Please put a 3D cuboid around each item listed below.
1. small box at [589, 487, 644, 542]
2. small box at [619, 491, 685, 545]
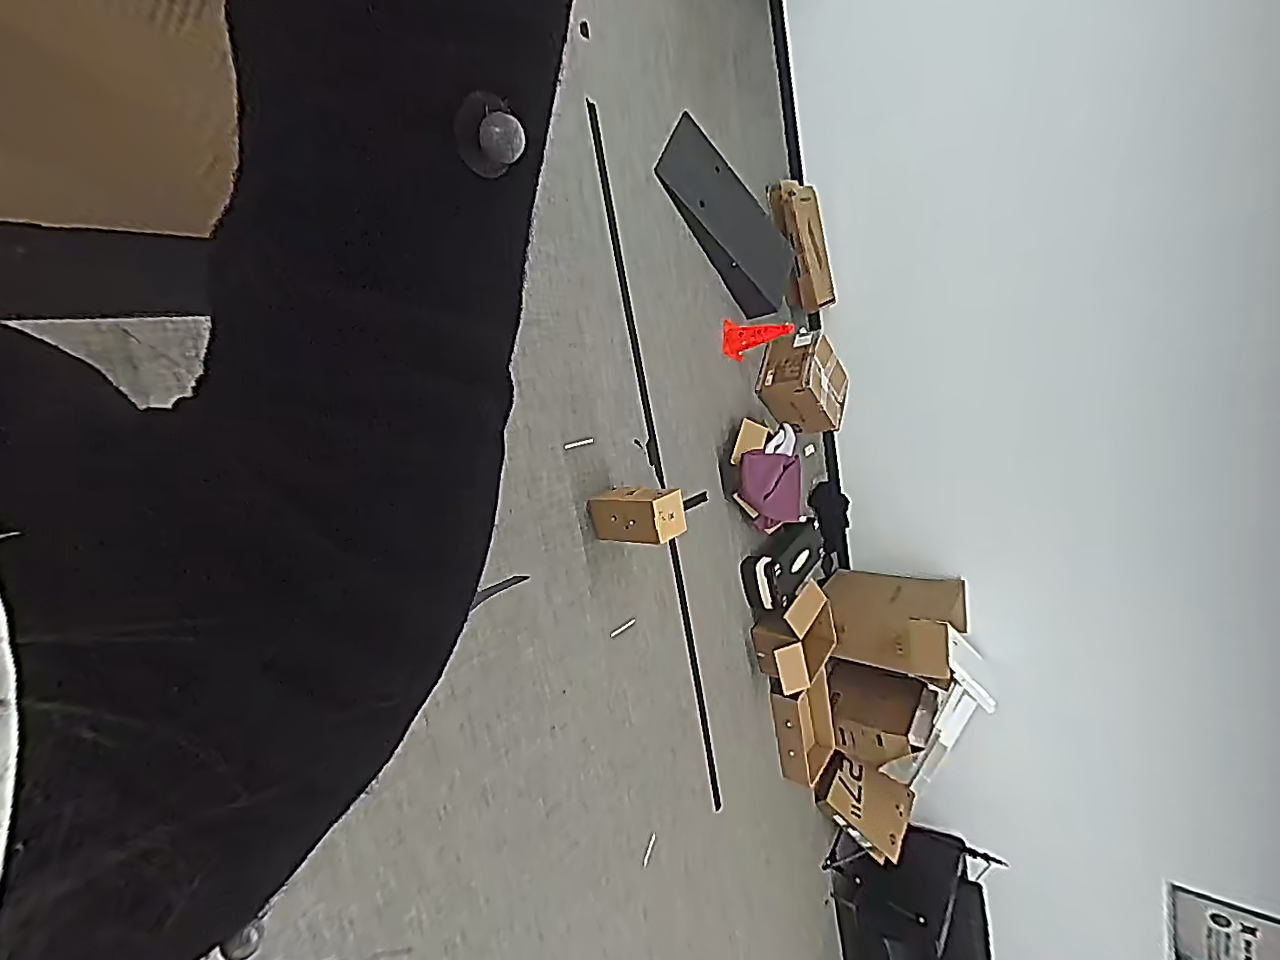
[{"bbox_3d":[-0.081,0.135,2.148,0.168,0.176,0.179,-26,109,-46],"label":"small box"},{"bbox_3d":[0.045,0.137,2.042,0.179,0.176,0.168,-21,105,-47],"label":"small box"}]
